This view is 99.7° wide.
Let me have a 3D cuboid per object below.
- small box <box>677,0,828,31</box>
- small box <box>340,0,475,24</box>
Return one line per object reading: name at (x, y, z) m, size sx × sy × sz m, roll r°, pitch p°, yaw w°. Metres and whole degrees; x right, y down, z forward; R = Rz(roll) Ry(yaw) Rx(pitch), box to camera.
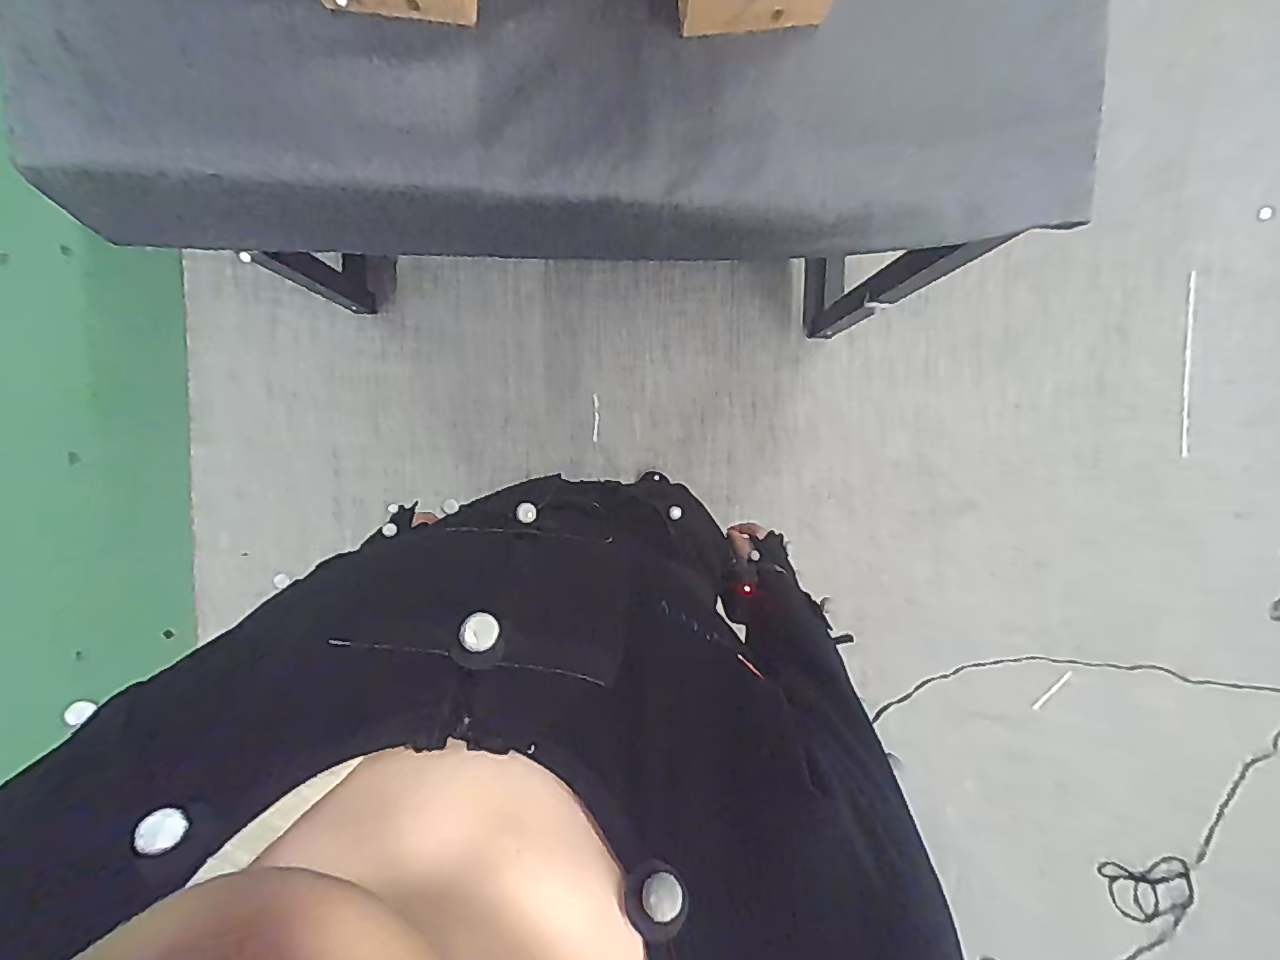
small box at (0.120, -0.586, 0.530) m, size 0.168 × 0.176 × 0.179 m, roll -7°, pitch 93°, yaw -2°
small box at (-0.253, -0.591, 0.517) m, size 0.168 × 0.176 × 0.179 m, roll 5°, pitch 91°, yaw -3°
